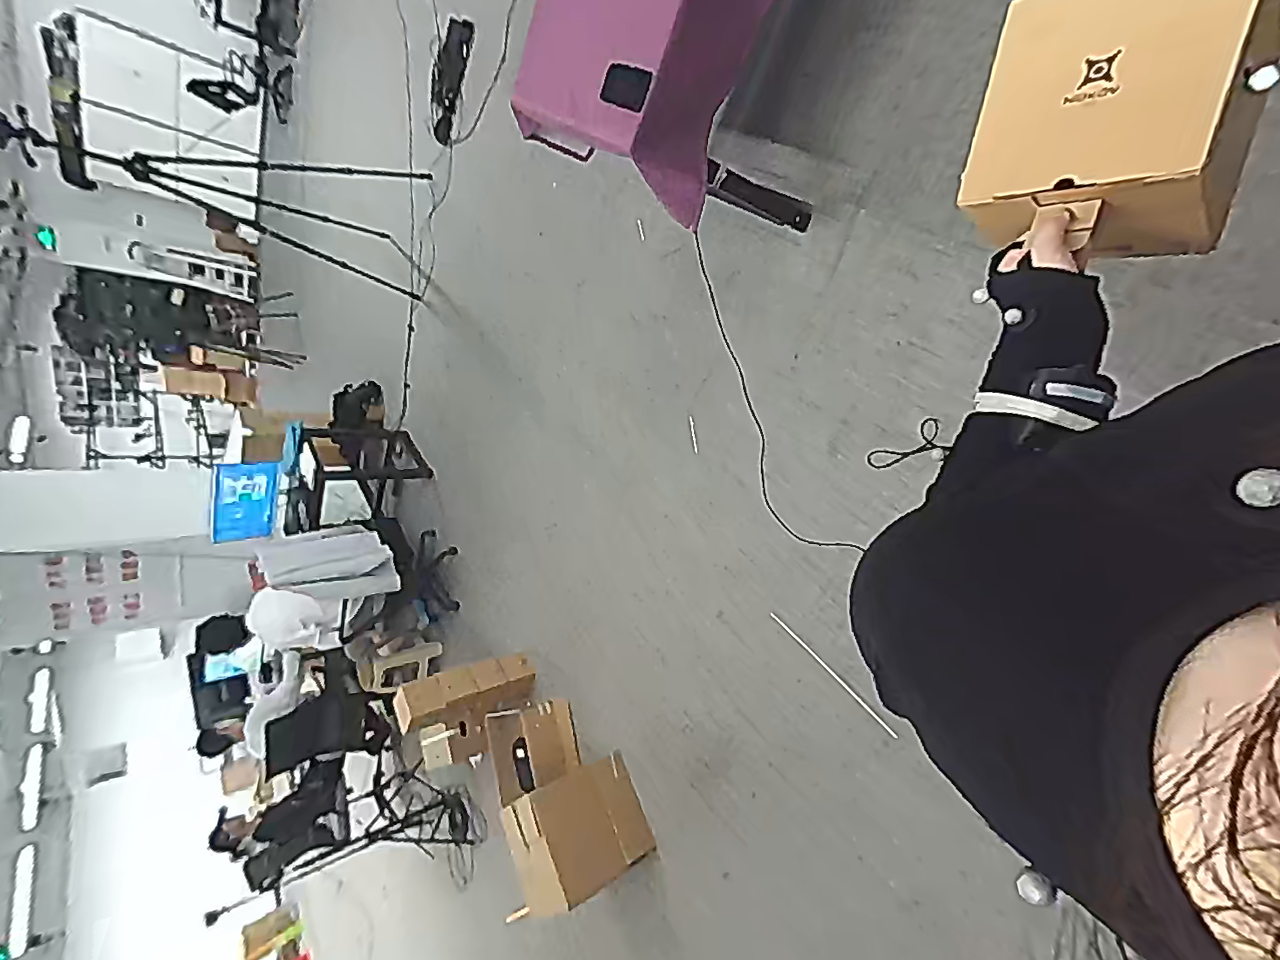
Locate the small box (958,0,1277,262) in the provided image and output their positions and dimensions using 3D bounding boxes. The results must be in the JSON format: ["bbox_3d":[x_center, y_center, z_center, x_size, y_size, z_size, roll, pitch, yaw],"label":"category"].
[{"bbox_3d":[0.424,-0.315,0.488,0.168,0.176,0.179,20,102,47],"label":"small box"}]
